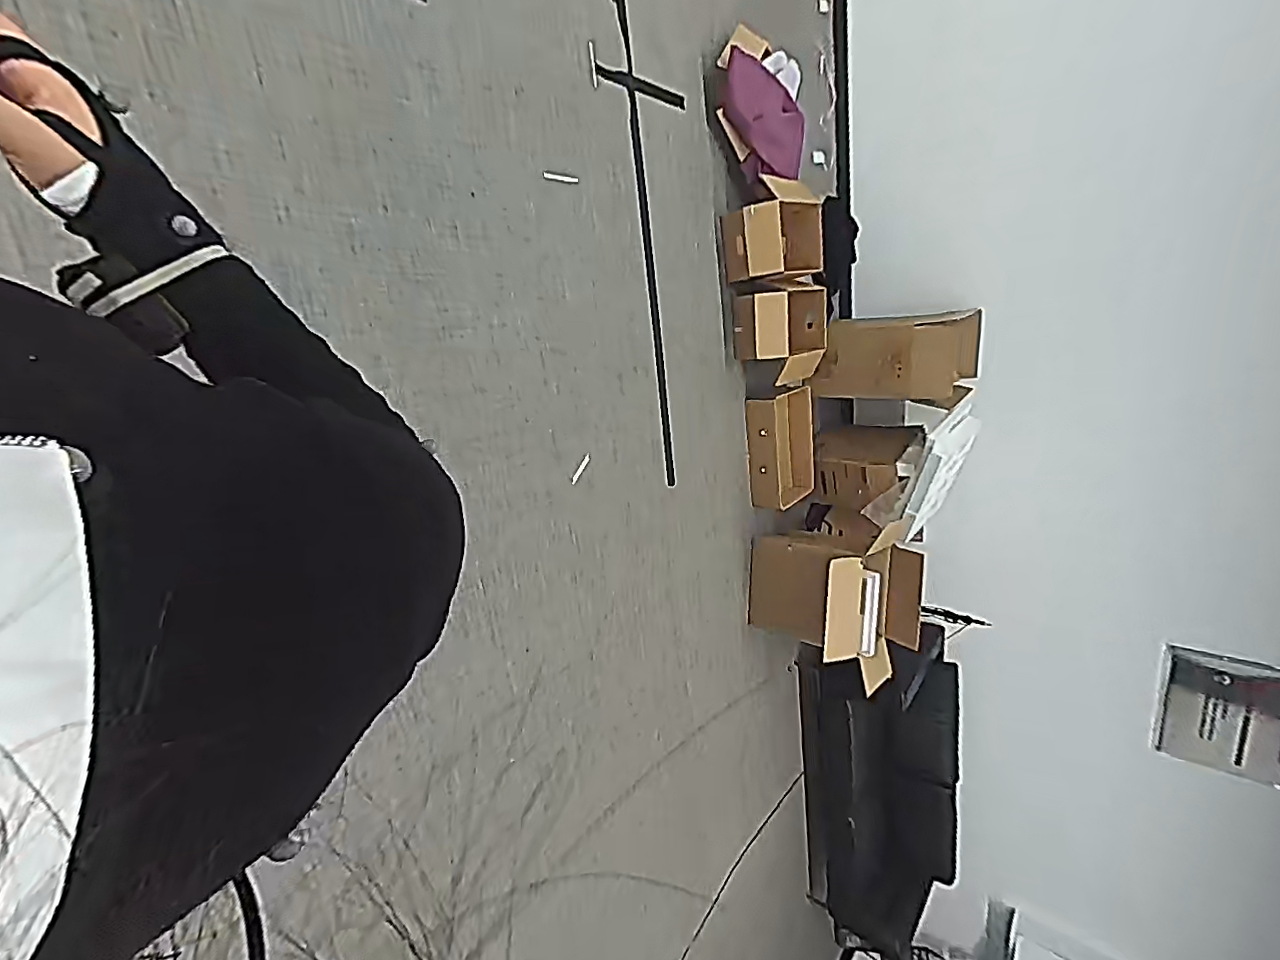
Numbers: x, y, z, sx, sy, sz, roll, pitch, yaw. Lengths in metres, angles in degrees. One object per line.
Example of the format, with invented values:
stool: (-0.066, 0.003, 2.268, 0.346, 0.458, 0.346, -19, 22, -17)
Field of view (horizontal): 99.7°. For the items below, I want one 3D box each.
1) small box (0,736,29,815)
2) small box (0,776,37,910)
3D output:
small box: (-1.119, 0.511, 0.852, 0.168, 0.176, 0.179, -25, 113, -44)
small box: (-0.992, 0.525, 0.750, 0.168, 0.176, 0.179, -29, 116, -43)
